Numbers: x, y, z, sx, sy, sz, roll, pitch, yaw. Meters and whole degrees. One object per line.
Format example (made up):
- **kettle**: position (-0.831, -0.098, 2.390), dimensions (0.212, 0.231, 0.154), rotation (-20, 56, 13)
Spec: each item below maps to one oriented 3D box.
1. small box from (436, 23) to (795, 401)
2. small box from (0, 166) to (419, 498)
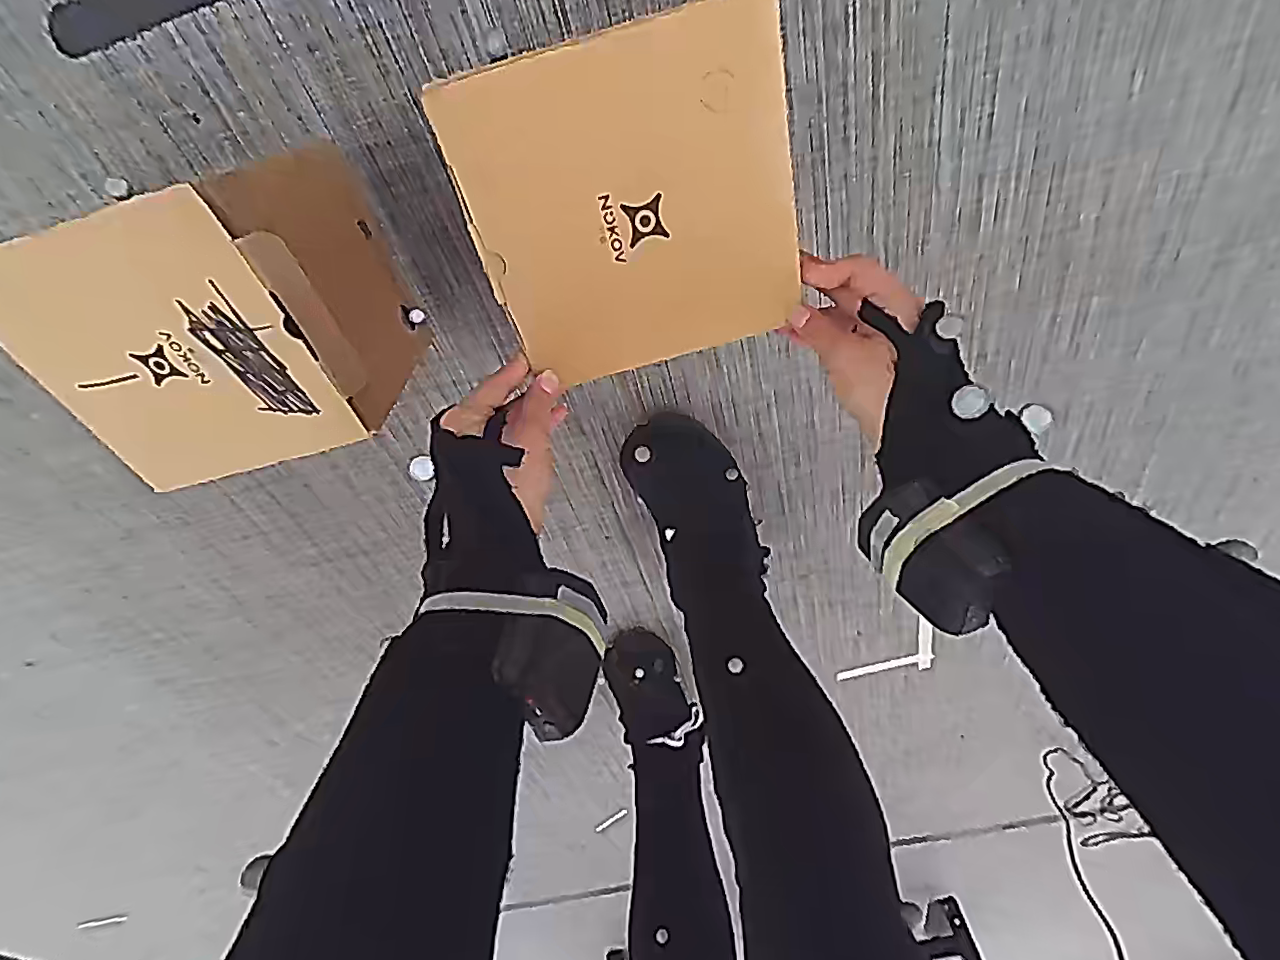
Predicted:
- **small box**: position (-0.009, -0.182, 0.373), dimensions (0.179, 0.176, 0.168), rotation (-14, 125, 5)
- **small box**: position (-0.290, -0.116, 0.407), dimensions (0.179, 0.176, 0.168), rotation (-13, 127, 7)
